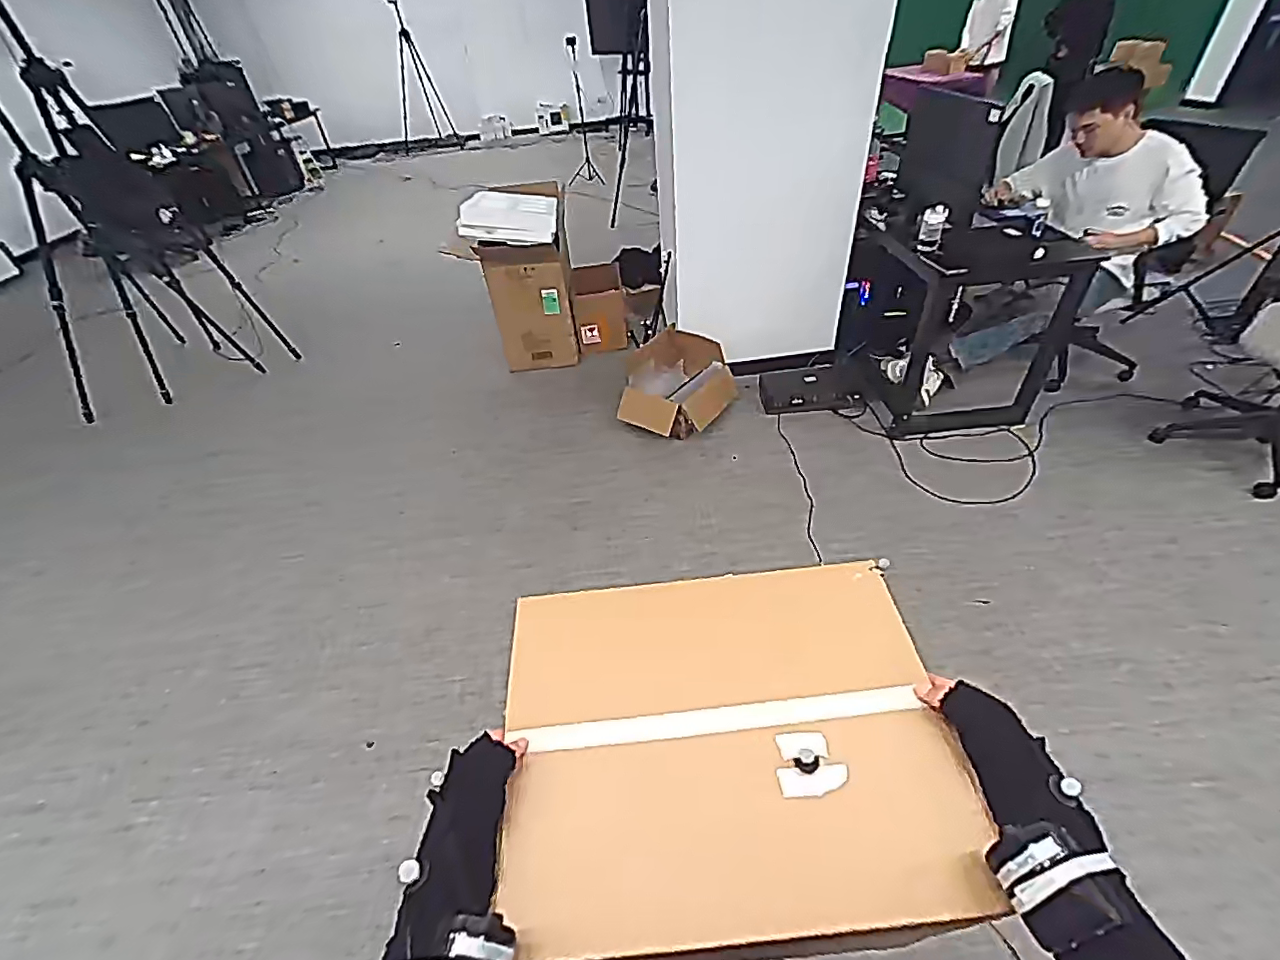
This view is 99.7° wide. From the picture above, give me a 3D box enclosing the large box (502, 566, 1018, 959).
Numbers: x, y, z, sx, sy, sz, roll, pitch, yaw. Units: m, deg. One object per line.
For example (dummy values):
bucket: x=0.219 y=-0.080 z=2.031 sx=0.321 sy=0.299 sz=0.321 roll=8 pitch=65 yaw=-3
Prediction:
large box: x=0.087 y=0.332 z=0.613 sx=0.408 sy=0.320 sz=0.320 roll=-6 pitch=46 yaw=-1
